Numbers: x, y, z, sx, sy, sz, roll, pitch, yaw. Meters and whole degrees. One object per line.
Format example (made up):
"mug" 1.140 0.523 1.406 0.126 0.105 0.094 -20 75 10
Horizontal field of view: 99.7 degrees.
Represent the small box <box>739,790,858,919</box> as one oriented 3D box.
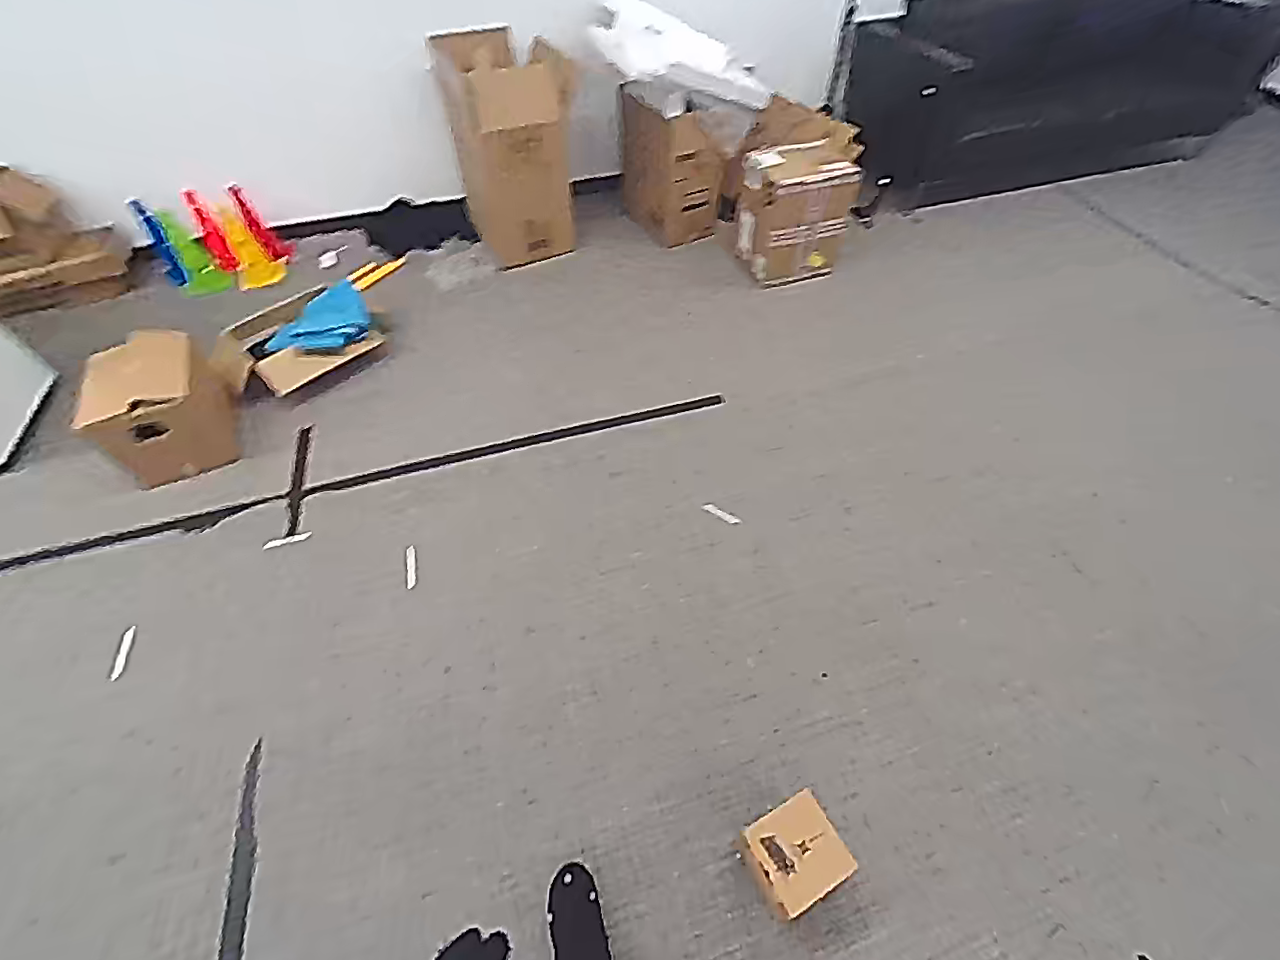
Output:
"small box" 0.329 0.809 1.166 0.179 0.176 0.168 -22 54 -17
